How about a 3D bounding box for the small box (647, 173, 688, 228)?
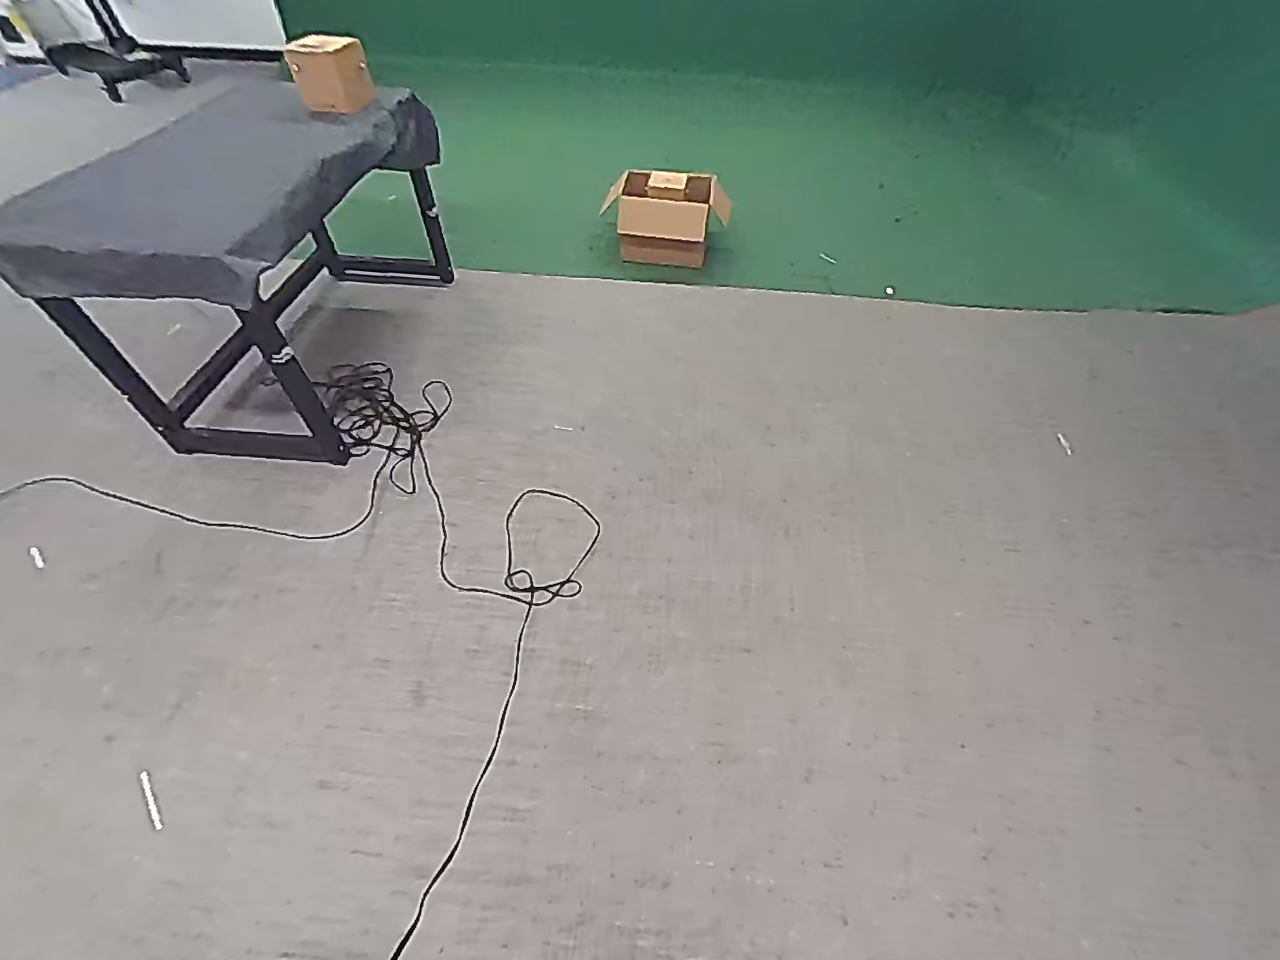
[{"bbox_3d":[0.124,-1.297,2.506,0.168,0.176,0.179,8,50,4],"label":"small box"}]
